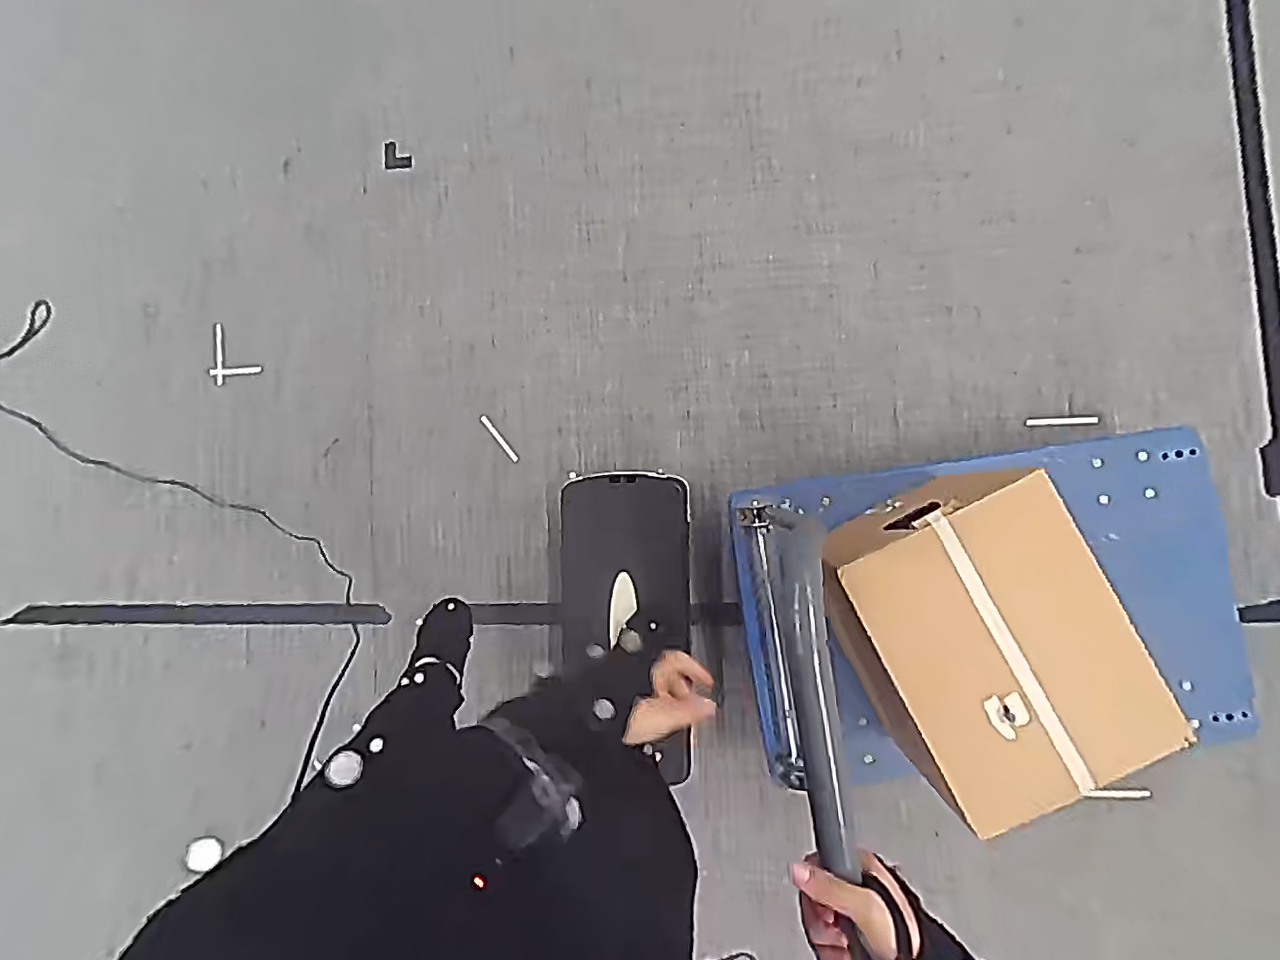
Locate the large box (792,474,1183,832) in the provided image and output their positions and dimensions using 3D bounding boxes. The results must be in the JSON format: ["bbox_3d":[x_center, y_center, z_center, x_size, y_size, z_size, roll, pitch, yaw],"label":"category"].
[{"bbox_3d":[0.505,0.238,0.883,0.320,0.320,0.408,-27,87,3],"label":"large box"}]
